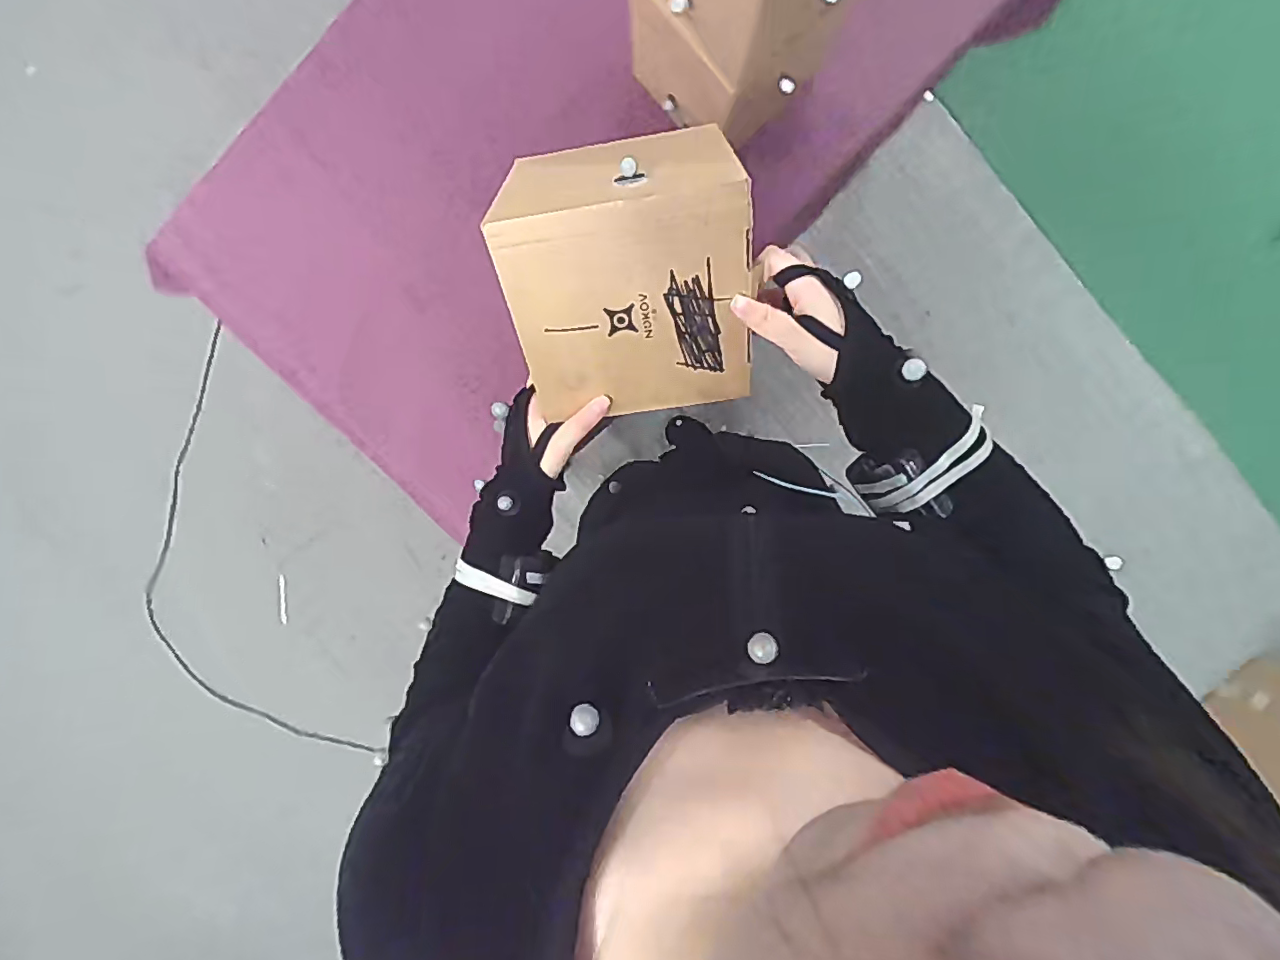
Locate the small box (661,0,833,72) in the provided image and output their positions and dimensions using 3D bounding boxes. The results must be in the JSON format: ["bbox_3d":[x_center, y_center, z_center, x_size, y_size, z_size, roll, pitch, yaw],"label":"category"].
[{"bbox_3d":[0.099,-0.499,0.458,0.168,0.176,0.179,-39,95,5],"label":"small box"}]

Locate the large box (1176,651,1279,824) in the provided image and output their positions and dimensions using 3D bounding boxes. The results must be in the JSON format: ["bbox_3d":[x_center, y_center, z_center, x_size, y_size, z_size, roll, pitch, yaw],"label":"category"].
[{"bbox_3d":[1.761,0.730,1.394,0.320,0.320,0.408,-44,95,5],"label":"large box"}]
